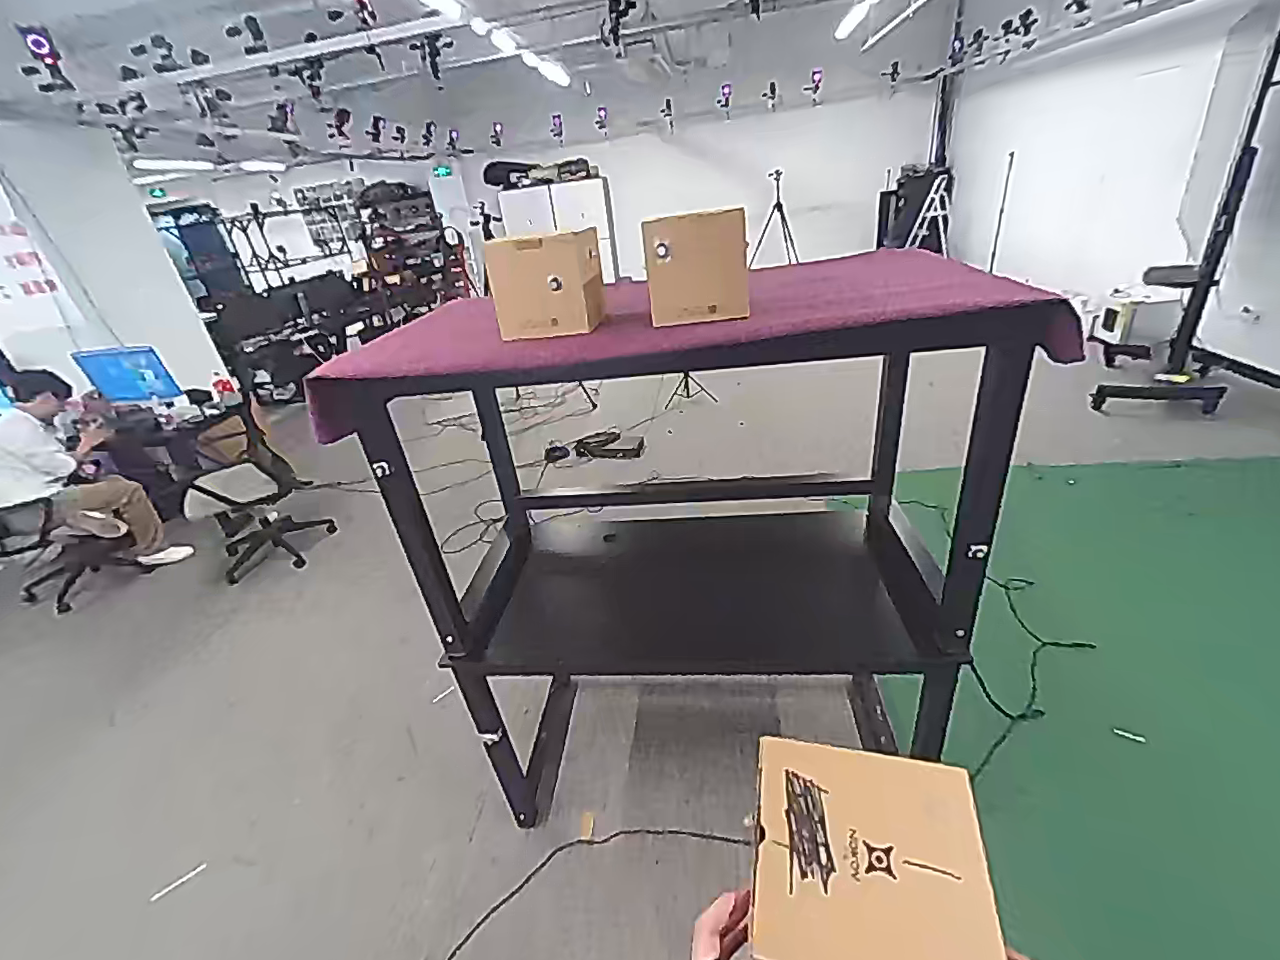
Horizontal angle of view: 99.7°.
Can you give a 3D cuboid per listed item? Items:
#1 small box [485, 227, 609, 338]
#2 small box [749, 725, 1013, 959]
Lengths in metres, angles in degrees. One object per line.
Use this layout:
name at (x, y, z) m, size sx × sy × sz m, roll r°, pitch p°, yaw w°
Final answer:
small box at (-0.160, -0.362, 0.999) m, size 0.168 × 0.176 × 0.179 m, roll -1°, pitch 27°, yaw 10°
small box at (0.192, 0.347, 0.476) m, size 0.179 × 0.176 × 0.168 m, roll 3°, pitch 42°, yaw 15°
